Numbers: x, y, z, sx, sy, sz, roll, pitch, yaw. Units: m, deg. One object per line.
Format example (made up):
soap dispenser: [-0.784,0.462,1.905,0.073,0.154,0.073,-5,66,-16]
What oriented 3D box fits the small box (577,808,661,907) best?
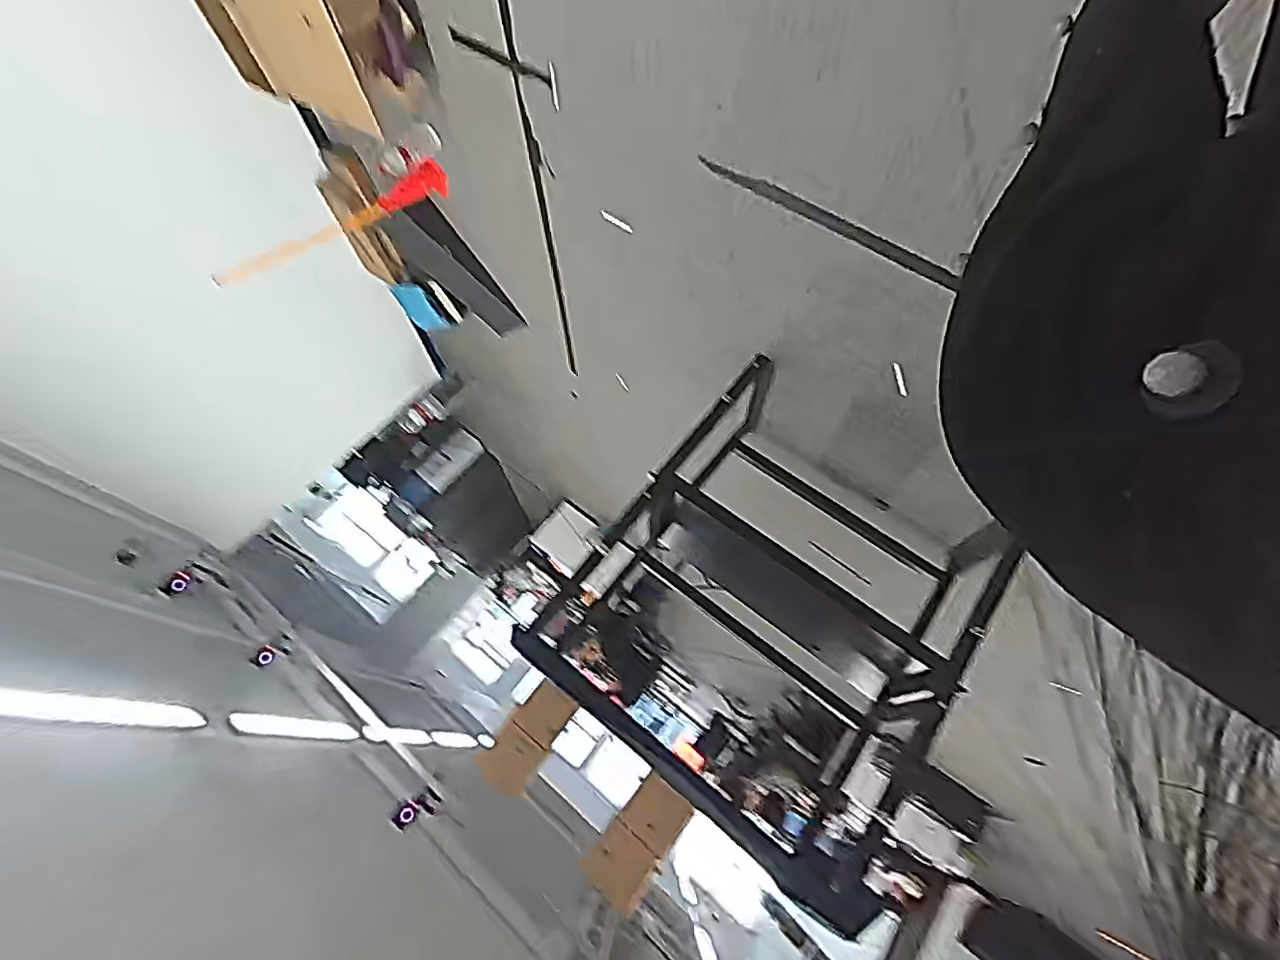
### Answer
small box: [-0.051,1.079,1.570,0.179,0.176,0.168,32,161,23]

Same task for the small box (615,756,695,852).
small box: [0.049,0.958,1.613,0.179,0.176,0.168,35,161,19]

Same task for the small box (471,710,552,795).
small box: [-0.390,0.837,1.685,0.168,0.176,0.179,36,160,12]
